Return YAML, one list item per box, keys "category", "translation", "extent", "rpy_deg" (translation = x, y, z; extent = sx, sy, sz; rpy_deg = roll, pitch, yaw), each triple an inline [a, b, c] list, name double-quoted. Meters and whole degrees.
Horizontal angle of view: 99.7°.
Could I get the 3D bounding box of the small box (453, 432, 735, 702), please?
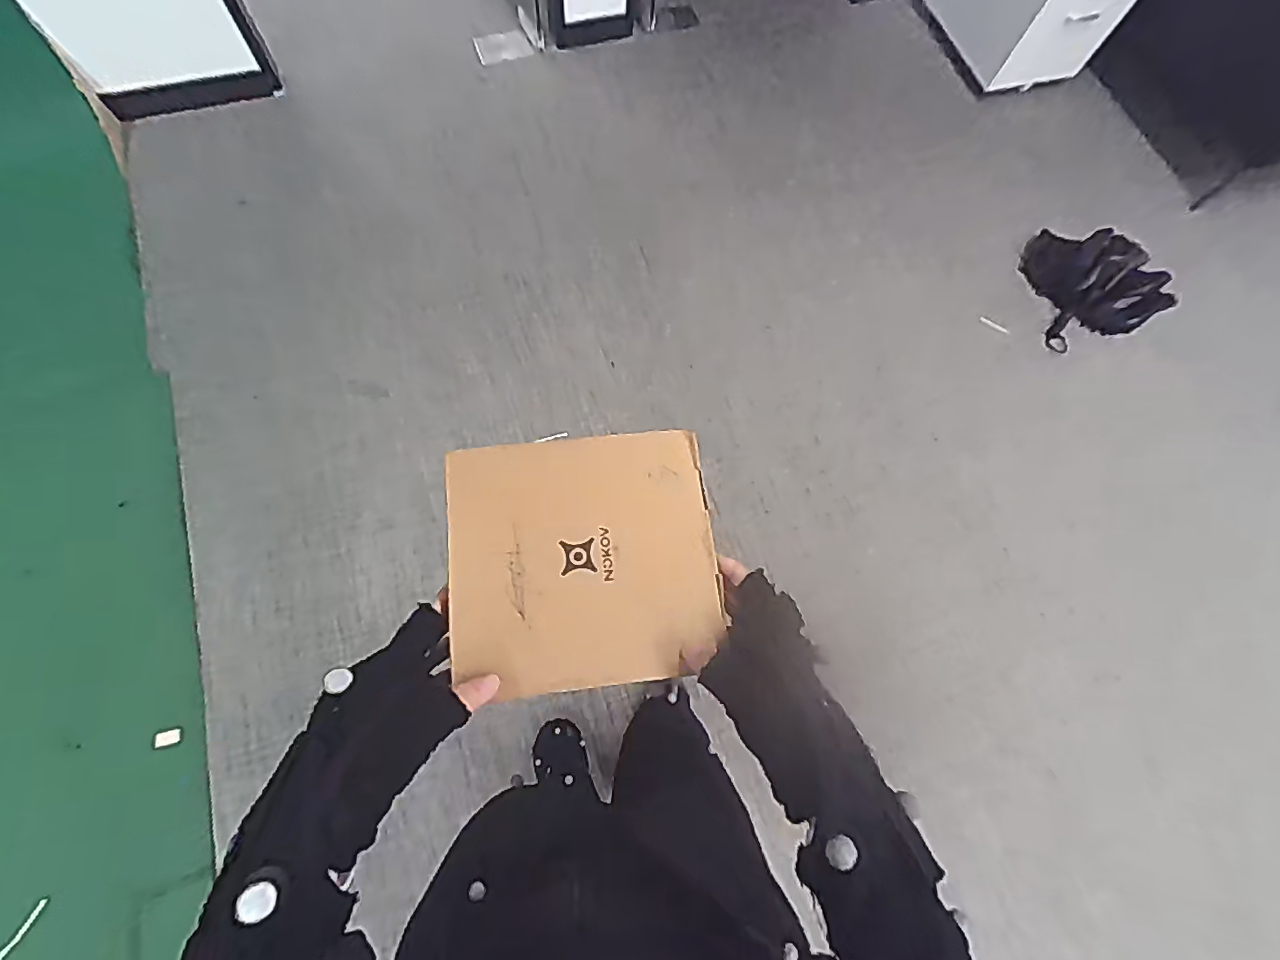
- category: "small box"
  translation: [-0.039, 0.075, 0.438]
  extent: [0.179, 0.176, 0.168]
  rpy_deg: [-7, 72, -5]
